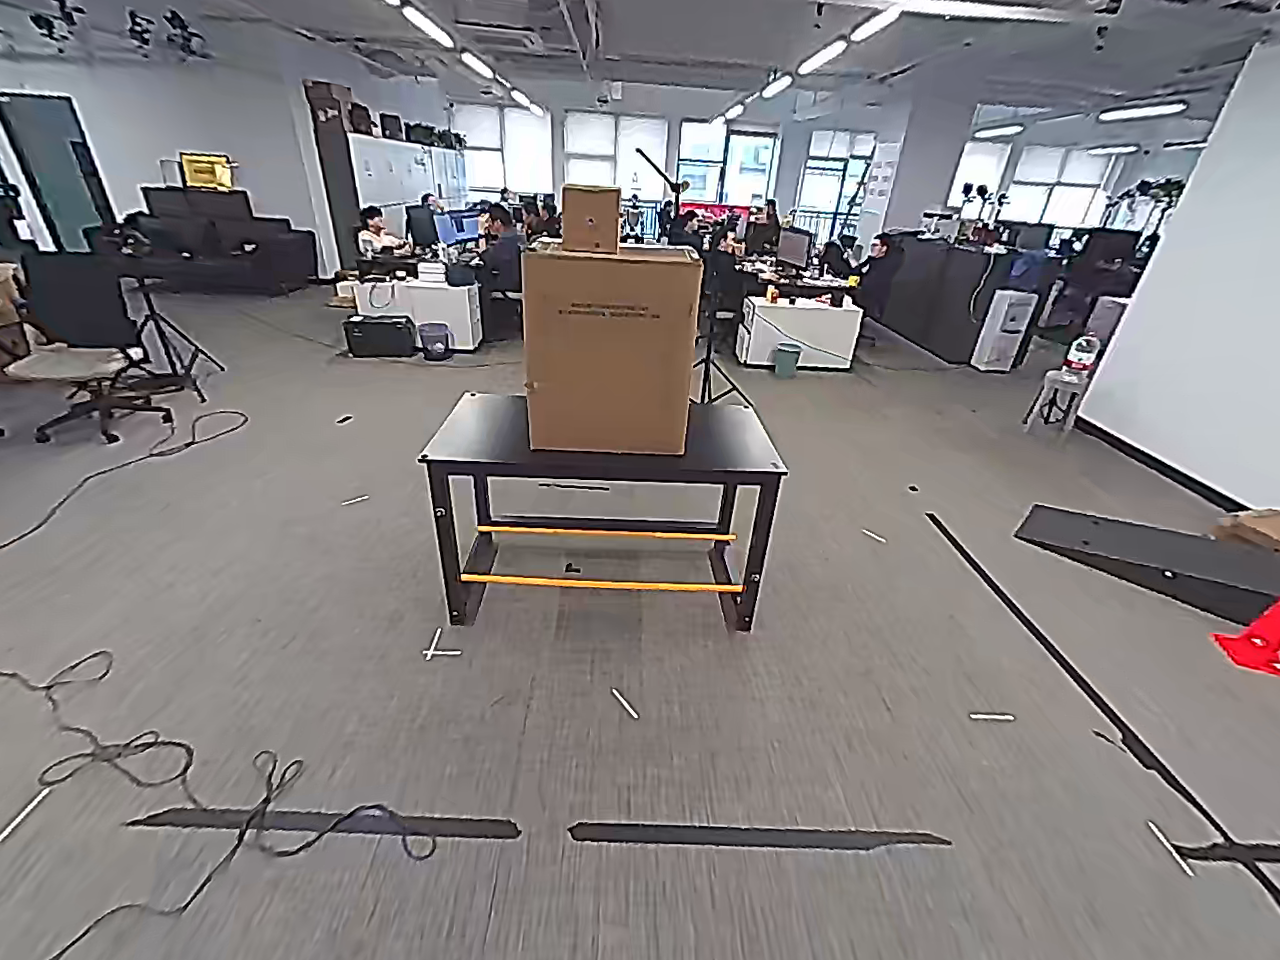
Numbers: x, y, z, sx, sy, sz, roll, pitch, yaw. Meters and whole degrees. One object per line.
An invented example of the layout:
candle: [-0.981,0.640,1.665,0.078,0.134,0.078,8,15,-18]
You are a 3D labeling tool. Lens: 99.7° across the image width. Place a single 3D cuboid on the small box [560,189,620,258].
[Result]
small box: [-0.148,-0.776,1.635,0.168,0.176,0.179,3,32,-2]
